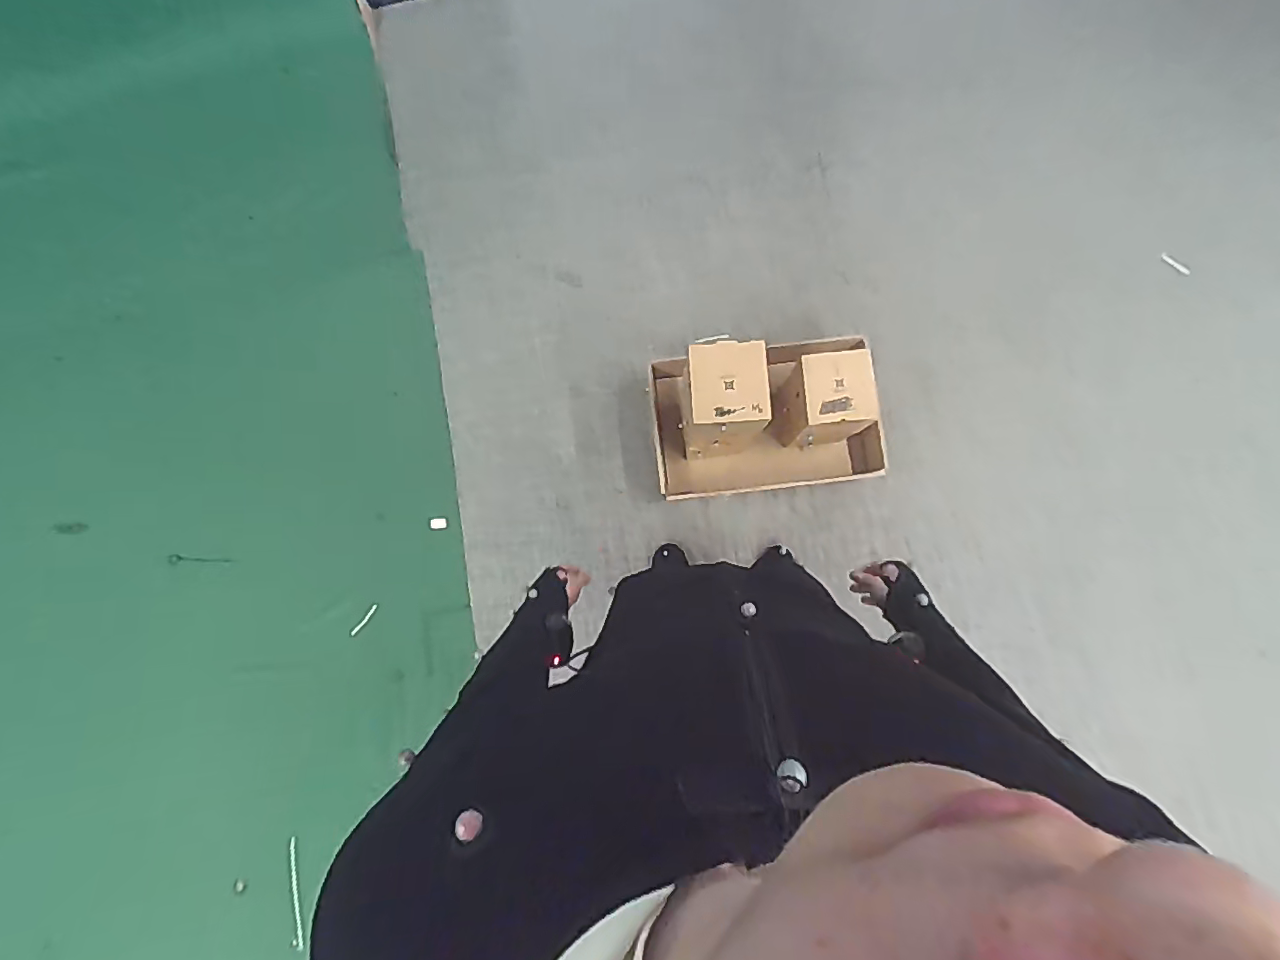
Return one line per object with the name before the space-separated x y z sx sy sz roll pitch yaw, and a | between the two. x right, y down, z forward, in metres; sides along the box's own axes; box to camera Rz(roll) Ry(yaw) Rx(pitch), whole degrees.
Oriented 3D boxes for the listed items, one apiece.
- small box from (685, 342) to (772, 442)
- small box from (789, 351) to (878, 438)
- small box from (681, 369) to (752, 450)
small box | 0.189 -0.191 1.206 0.168 0.176 0.179 -3 82 2
small box | 0.477 -0.206 1.355 0.168 0.176 0.179 -4 82 4
small box | 0.196 -0.182 1.370 0.168 0.176 0.179 -6 83 1
